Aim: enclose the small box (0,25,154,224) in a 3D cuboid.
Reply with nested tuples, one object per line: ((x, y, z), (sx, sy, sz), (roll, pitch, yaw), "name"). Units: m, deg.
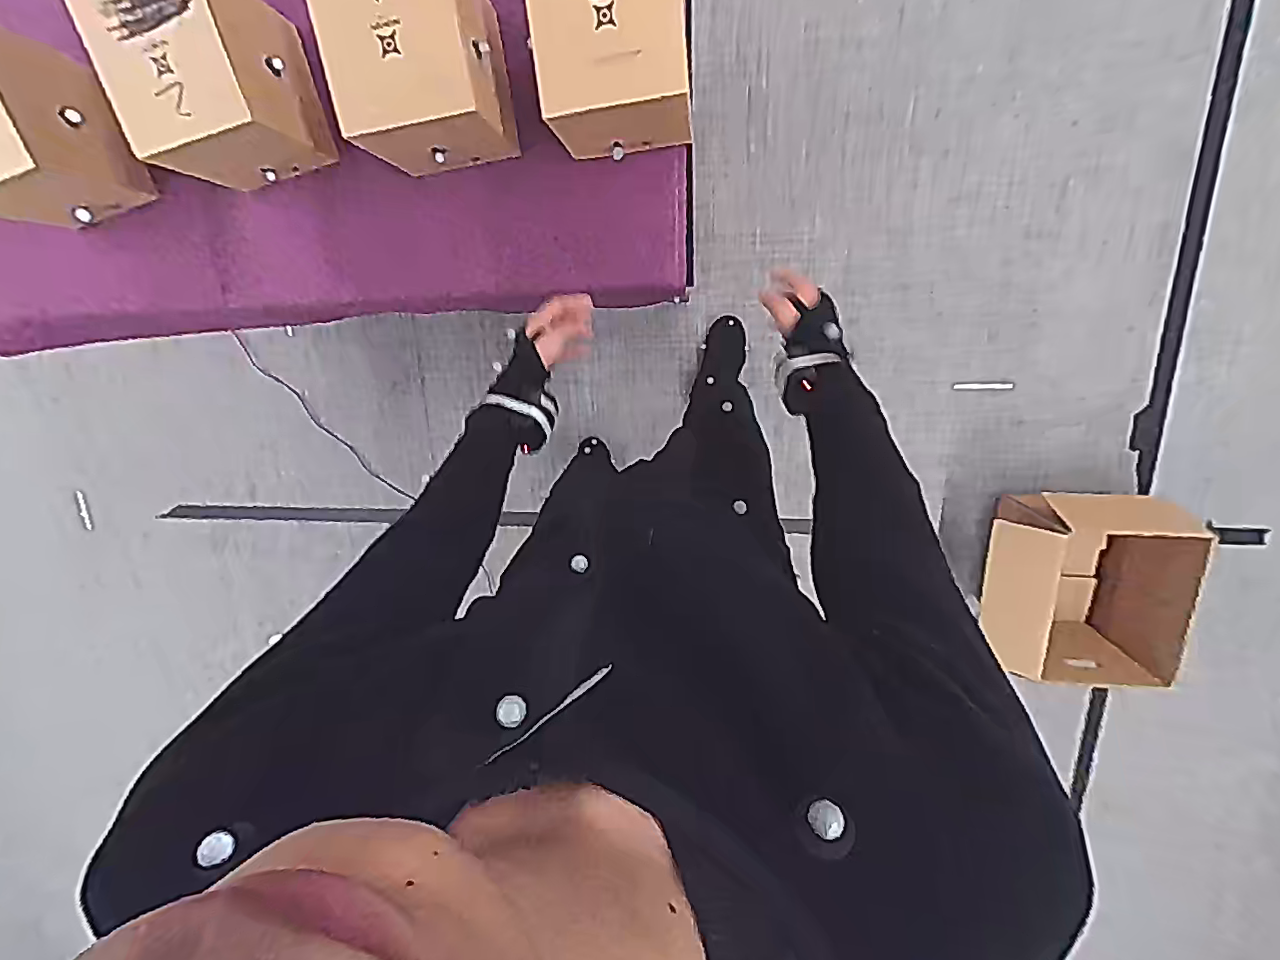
((-0.834, -0.472, 0.731), (0.168, 0.176, 0.179), (-13, 105, 9), "small box")

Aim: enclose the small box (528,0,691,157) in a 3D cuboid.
((-0.028, -0.514, 0.640), (0.168, 0.176, 0.179), (-4, 105, 8), "small box")

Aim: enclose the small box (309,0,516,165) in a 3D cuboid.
((-0.265, -0.509, 0.666), (0.168, 0.176, 0.179), (-6, 105, 7), "small box")
